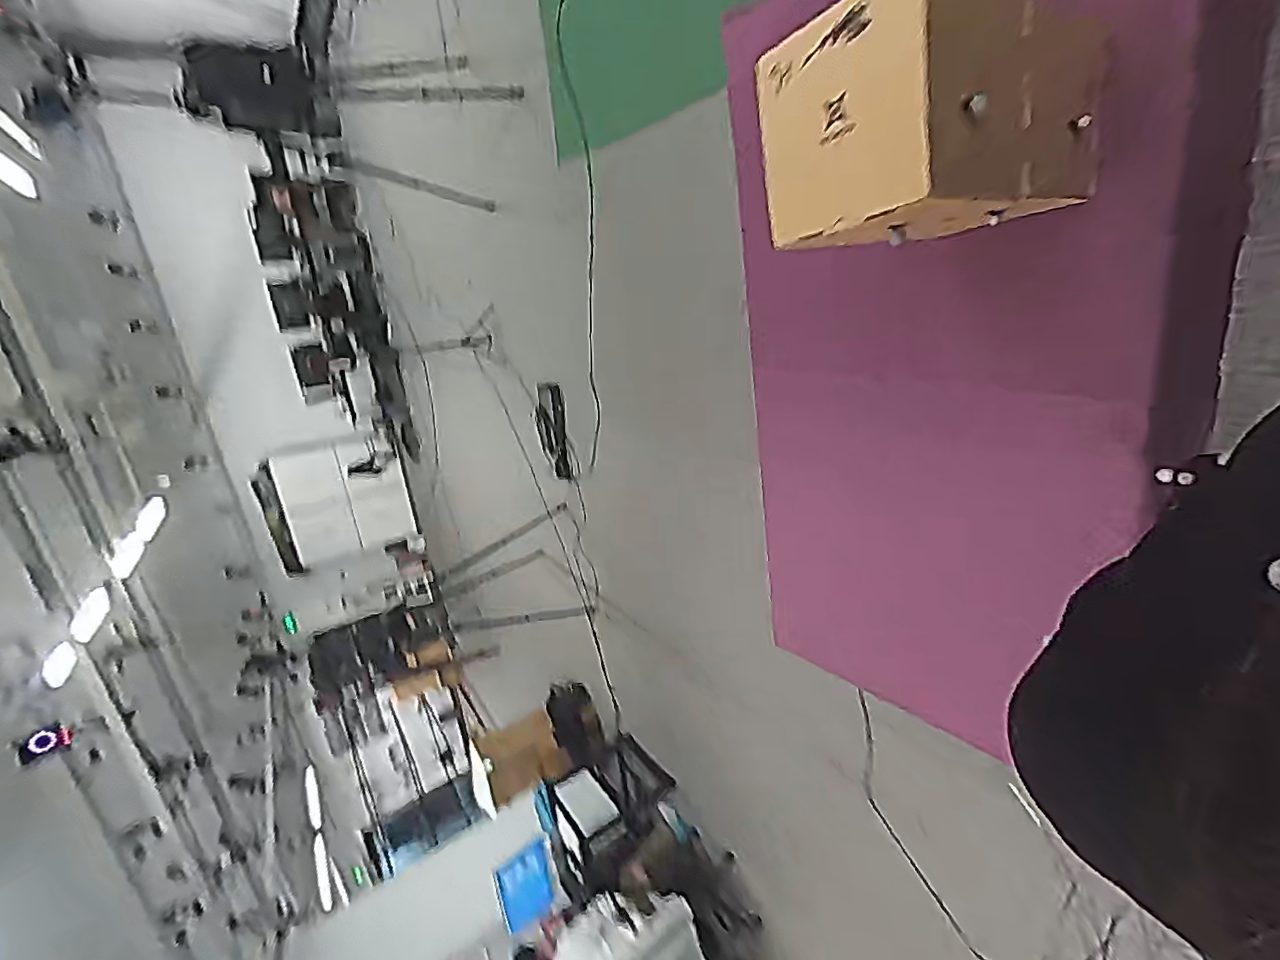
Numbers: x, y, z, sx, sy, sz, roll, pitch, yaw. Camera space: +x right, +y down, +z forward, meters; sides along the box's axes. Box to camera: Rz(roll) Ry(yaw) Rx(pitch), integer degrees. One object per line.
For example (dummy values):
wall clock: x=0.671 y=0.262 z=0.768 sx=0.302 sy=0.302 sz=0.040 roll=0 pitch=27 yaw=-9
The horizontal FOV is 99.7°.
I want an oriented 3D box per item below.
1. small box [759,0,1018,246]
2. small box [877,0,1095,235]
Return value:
small box: x=0.242 y=-0.342 z=0.526 sx=0.168 sy=0.176 sz=0.179 roll=11 pitch=114 yaw=55
small box: x=0.374 y=-0.384 z=0.614 sx=0.179 sy=0.176 sz=0.168 roll=11 pitch=114 yaw=55
